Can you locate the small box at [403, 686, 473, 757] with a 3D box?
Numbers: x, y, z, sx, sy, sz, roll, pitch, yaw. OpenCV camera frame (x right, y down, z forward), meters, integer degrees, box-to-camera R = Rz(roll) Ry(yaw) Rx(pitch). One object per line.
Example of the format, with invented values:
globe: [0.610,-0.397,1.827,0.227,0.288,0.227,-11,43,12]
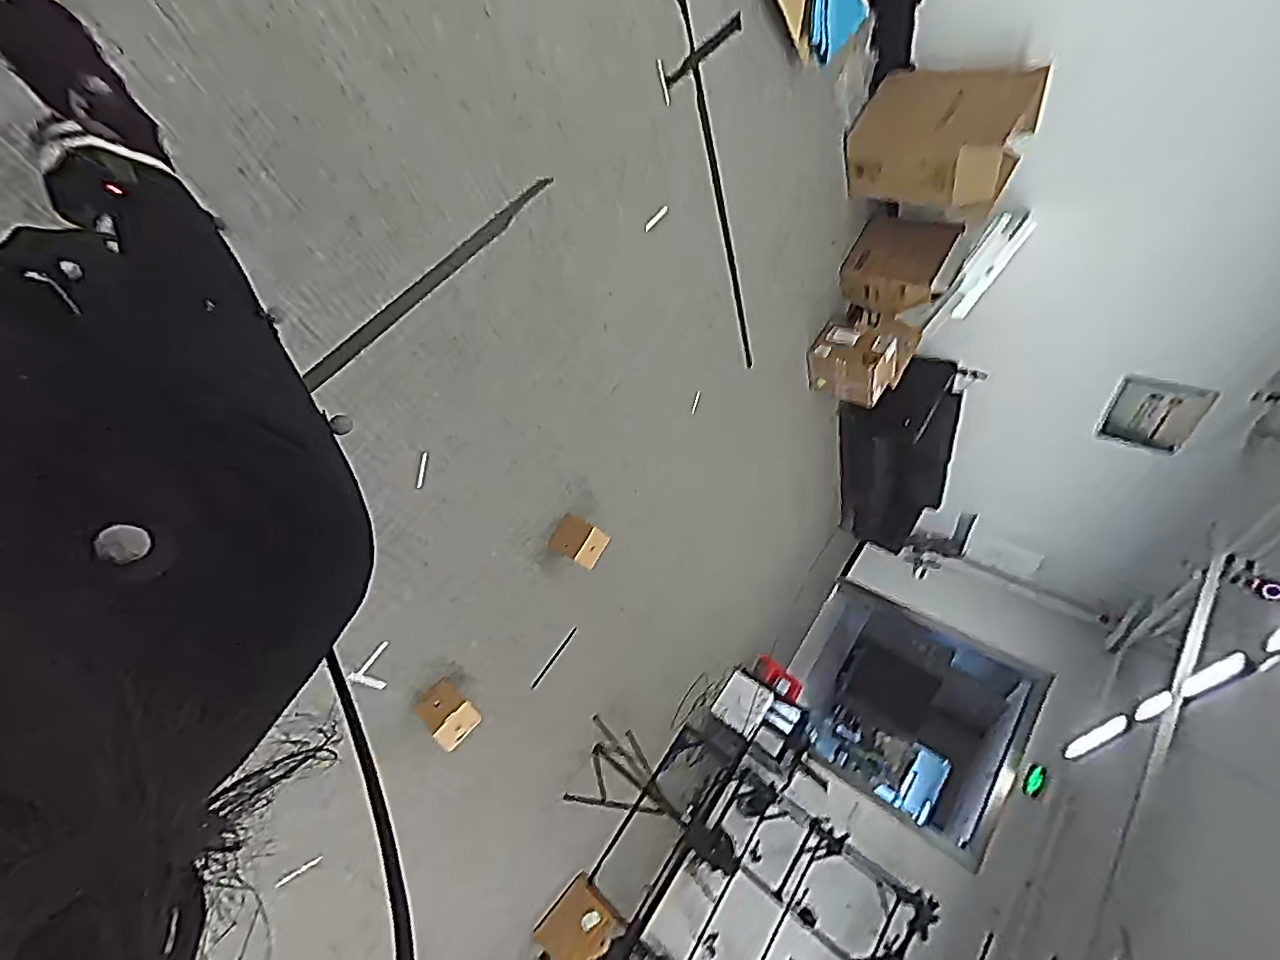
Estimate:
small box: [-0.804,0.953,2.149,0.168,0.176,0.179,-42,140,-31]

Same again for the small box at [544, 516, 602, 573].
small box: [-0.307,0.289,2.427,0.179,0.176,0.168,-60,148,-11]
